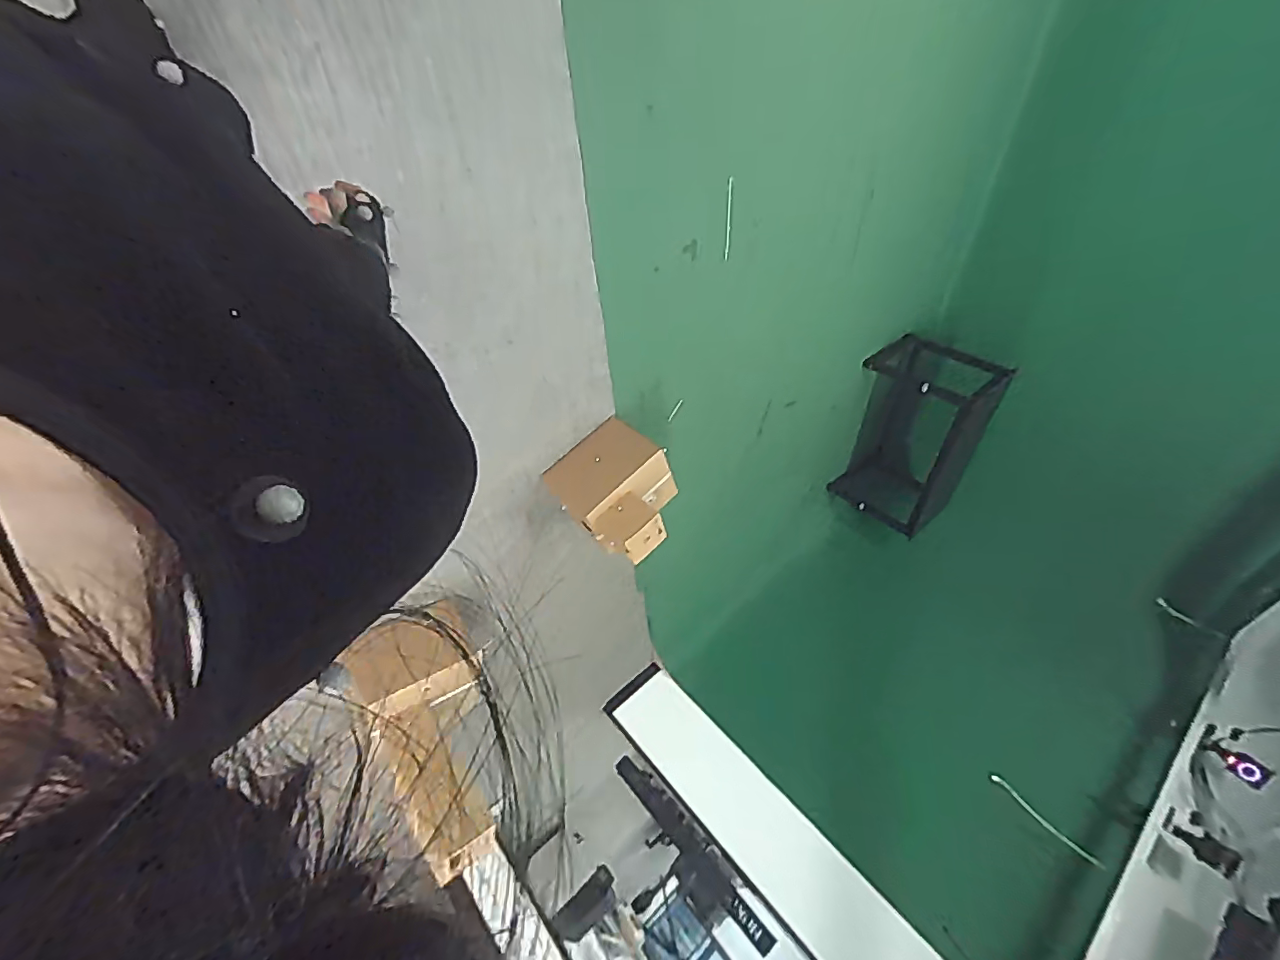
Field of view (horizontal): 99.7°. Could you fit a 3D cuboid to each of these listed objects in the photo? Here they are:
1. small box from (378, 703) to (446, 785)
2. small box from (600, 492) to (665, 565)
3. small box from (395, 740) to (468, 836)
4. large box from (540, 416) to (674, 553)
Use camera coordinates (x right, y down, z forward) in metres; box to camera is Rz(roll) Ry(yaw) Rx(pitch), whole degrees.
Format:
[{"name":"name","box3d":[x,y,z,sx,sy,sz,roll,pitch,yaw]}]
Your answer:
[{"name":"small box","box3d":[-0.778,0.904,1.845,0.168,0.176,0.179,-18,134,-39]},{"name":"small box","box3d":[-0.034,0.181,2.056,0.179,0.176,0.168,-39,142,-18]},{"name":"small box","box3d":[-0.680,0.990,1.749,0.179,0.176,0.168,-17,133,-41]},{"name":"large box","box3d":[-0.129,0.014,2.232,0.408,0.320,0.320,-43,145,-15]}]
